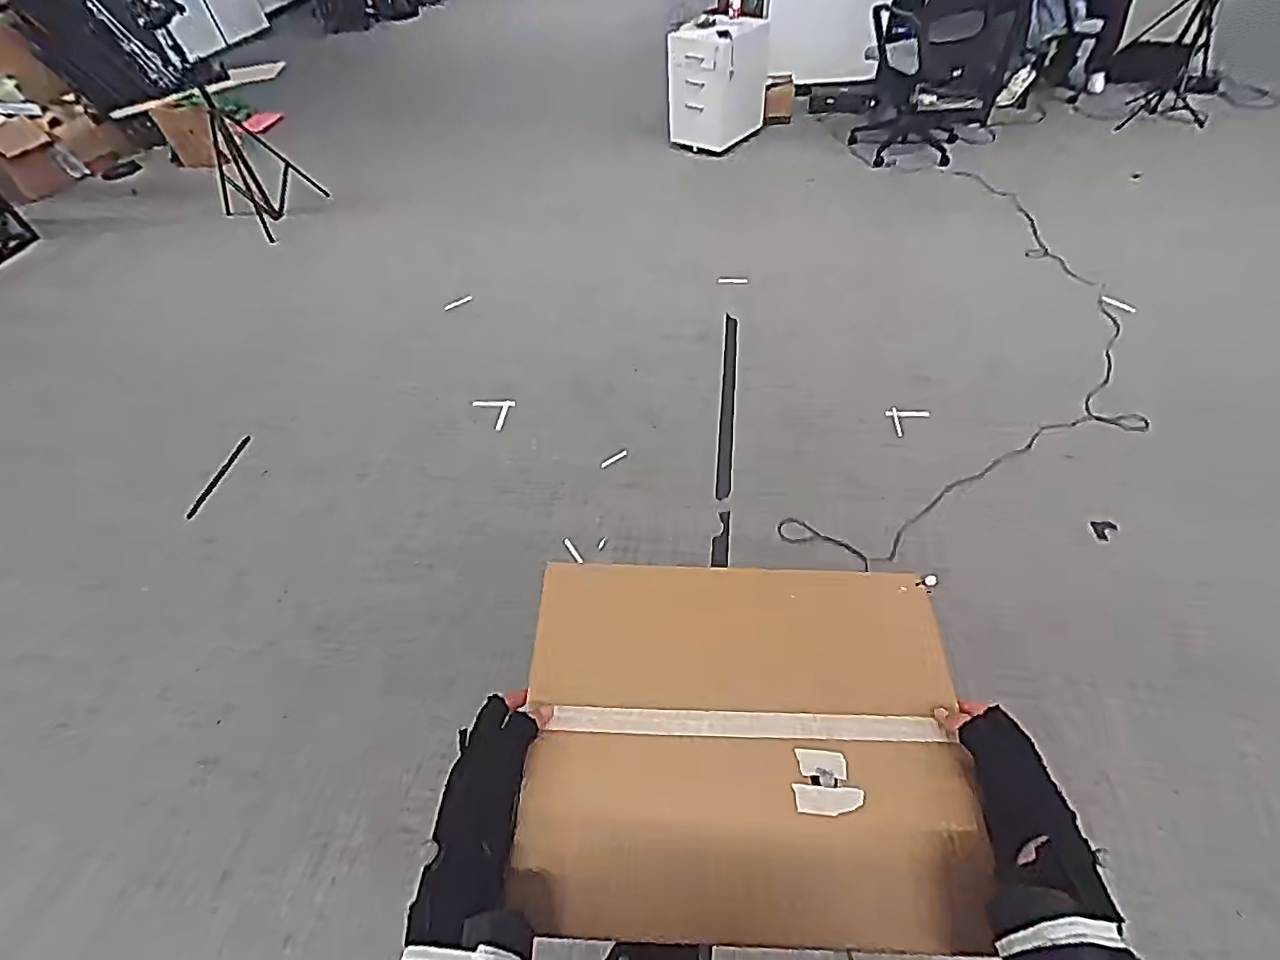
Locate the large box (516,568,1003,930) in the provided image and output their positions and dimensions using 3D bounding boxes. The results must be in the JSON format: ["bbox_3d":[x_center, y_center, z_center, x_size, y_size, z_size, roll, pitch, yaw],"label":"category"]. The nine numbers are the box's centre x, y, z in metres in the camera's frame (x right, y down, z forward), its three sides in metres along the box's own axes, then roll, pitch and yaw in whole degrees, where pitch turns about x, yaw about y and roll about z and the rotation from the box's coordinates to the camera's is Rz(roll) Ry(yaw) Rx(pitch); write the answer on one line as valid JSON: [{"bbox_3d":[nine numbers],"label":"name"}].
[{"bbox_3d":[0.096,0.311,0.639,0.408,0.320,0.320,1,57,0],"label":"large box"}]
